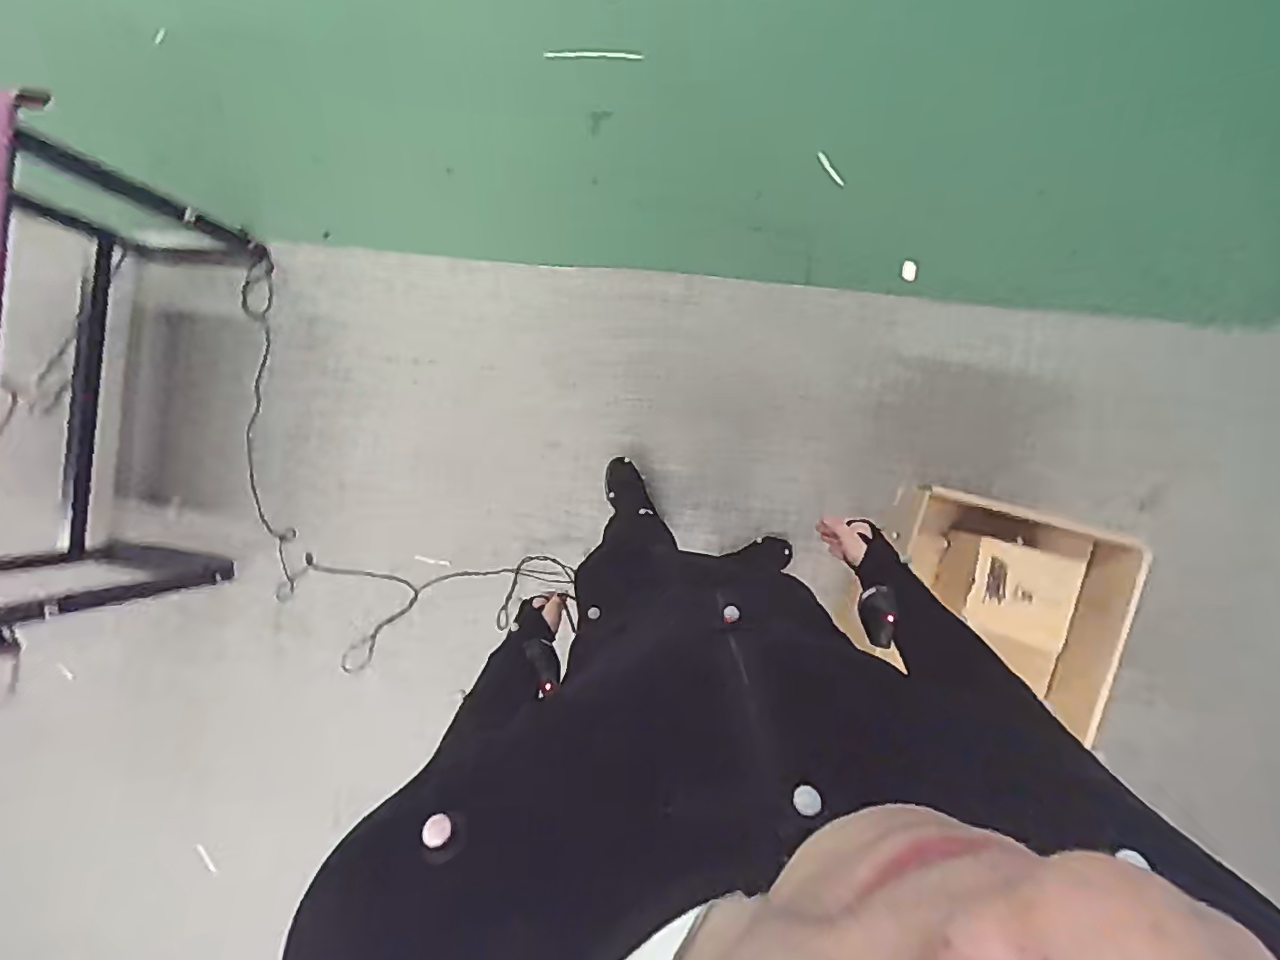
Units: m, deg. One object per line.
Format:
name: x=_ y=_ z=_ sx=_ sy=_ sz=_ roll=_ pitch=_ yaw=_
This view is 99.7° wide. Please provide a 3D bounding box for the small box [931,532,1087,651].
small box: x=0.695 y=0.204 z=1.044 sx=0.179 sy=0.176 sz=0.168 roll=16 pitch=94 yaw=9
